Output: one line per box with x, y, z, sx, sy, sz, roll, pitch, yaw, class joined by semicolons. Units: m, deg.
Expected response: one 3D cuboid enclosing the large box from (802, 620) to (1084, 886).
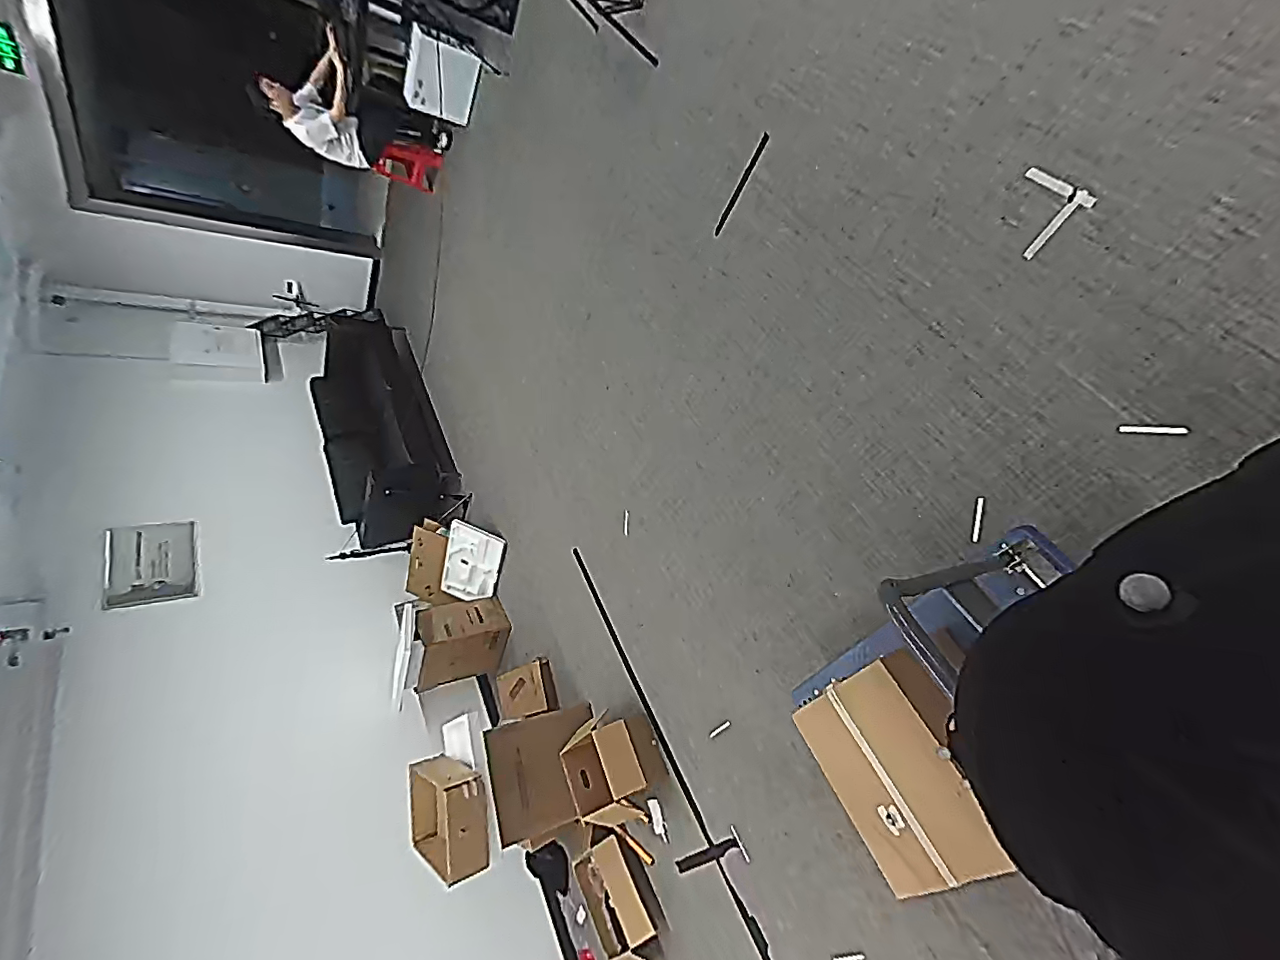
0.662;0.591;1.221;0.408;0.320;0.320;60;136;29;large box
